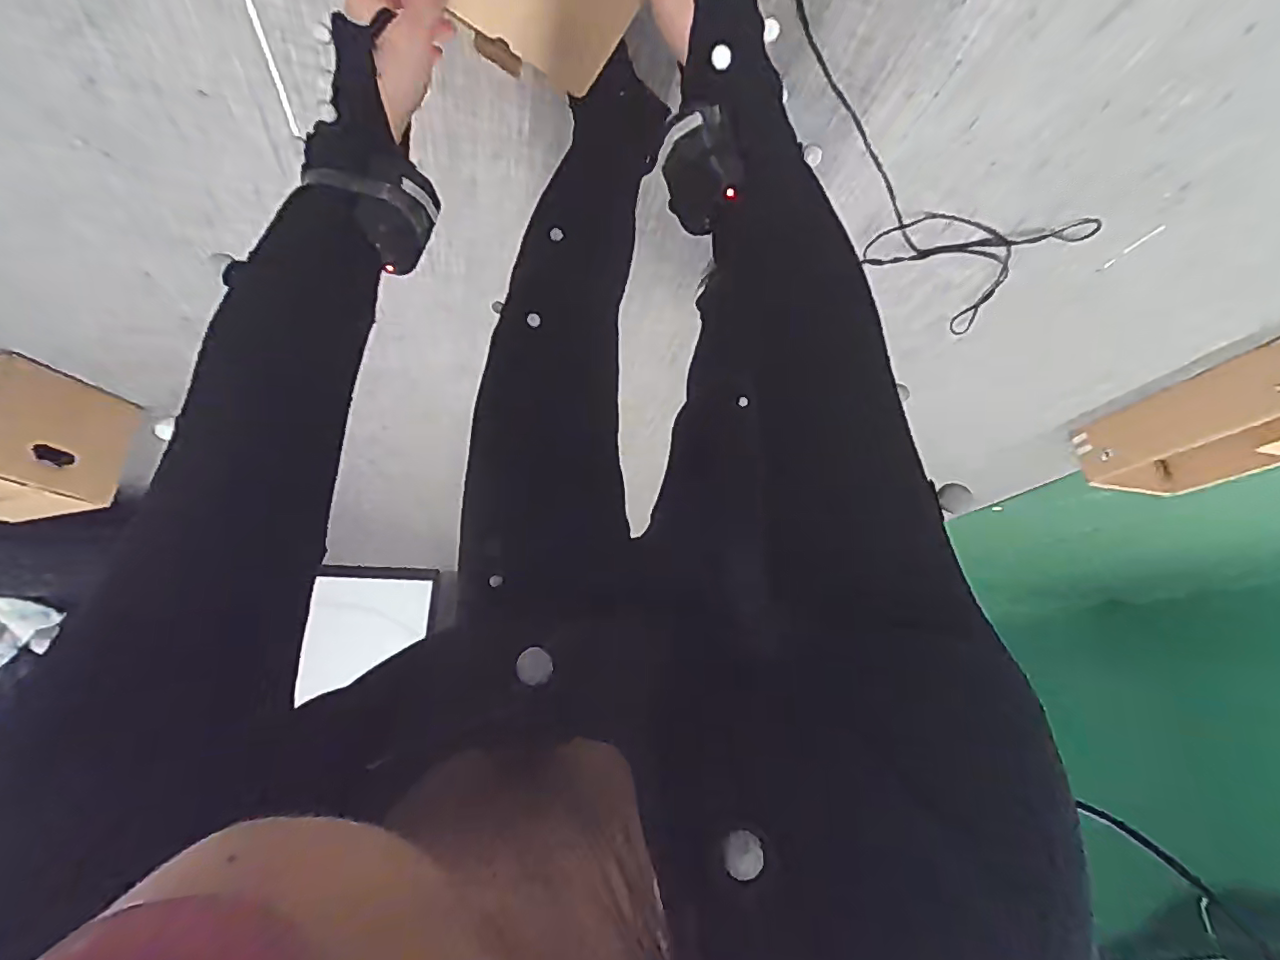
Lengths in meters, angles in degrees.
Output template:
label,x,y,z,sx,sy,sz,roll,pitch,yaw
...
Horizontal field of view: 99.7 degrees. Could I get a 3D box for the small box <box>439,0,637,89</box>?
label,x,y,z,sx,sy,sz,roll,pitch,yaw
small box,-0.075,-0.484,0.431,0.168,0.176,0.179,9,157,-35
